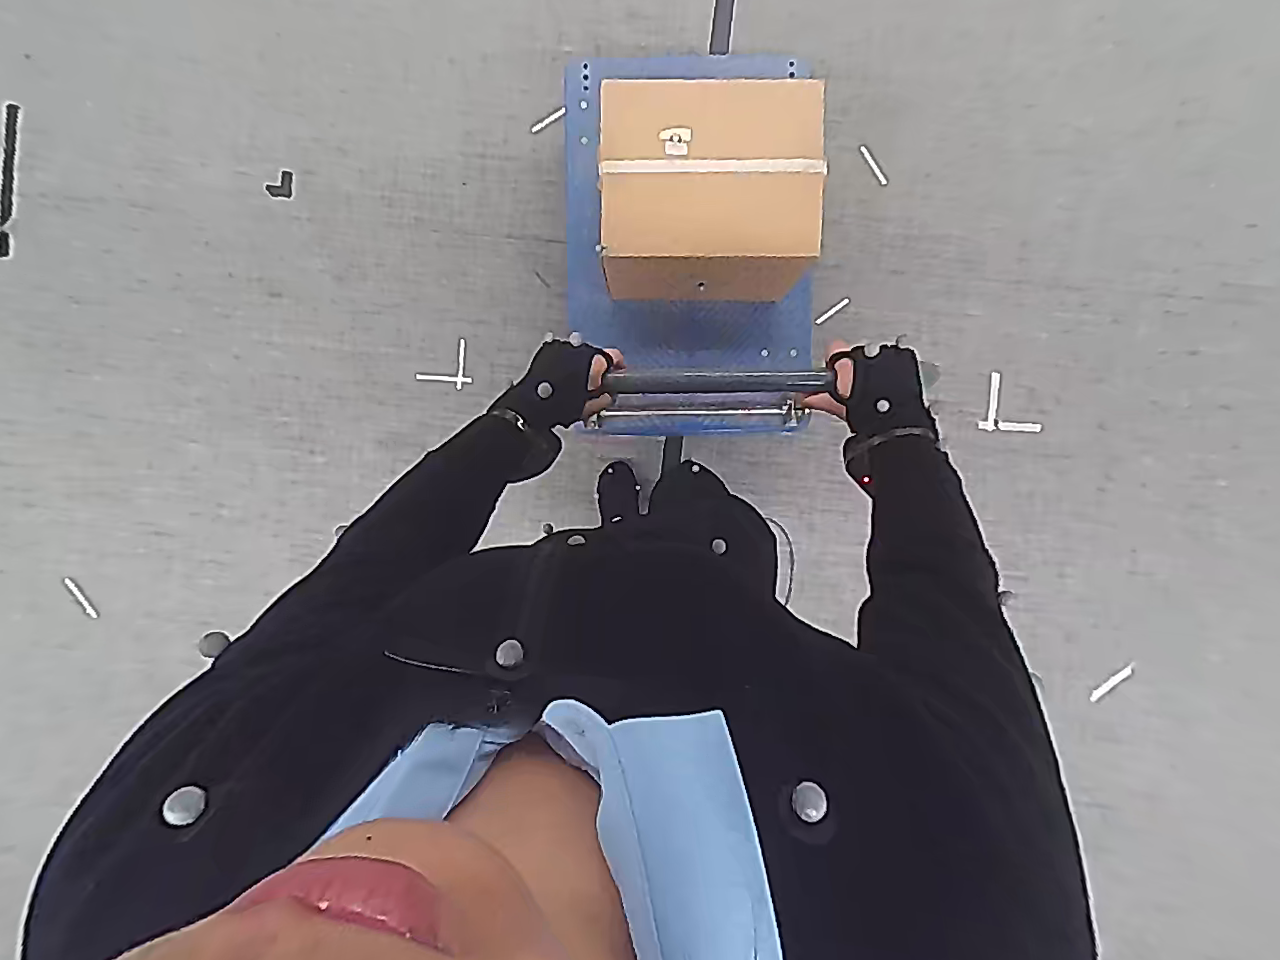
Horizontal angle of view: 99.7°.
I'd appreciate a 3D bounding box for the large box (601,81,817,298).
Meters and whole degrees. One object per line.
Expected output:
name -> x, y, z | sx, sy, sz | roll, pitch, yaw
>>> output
large box -> 0.133, -0.584, 1.152 | 0.408, 0.320, 0.320 | 0, 93, 1
